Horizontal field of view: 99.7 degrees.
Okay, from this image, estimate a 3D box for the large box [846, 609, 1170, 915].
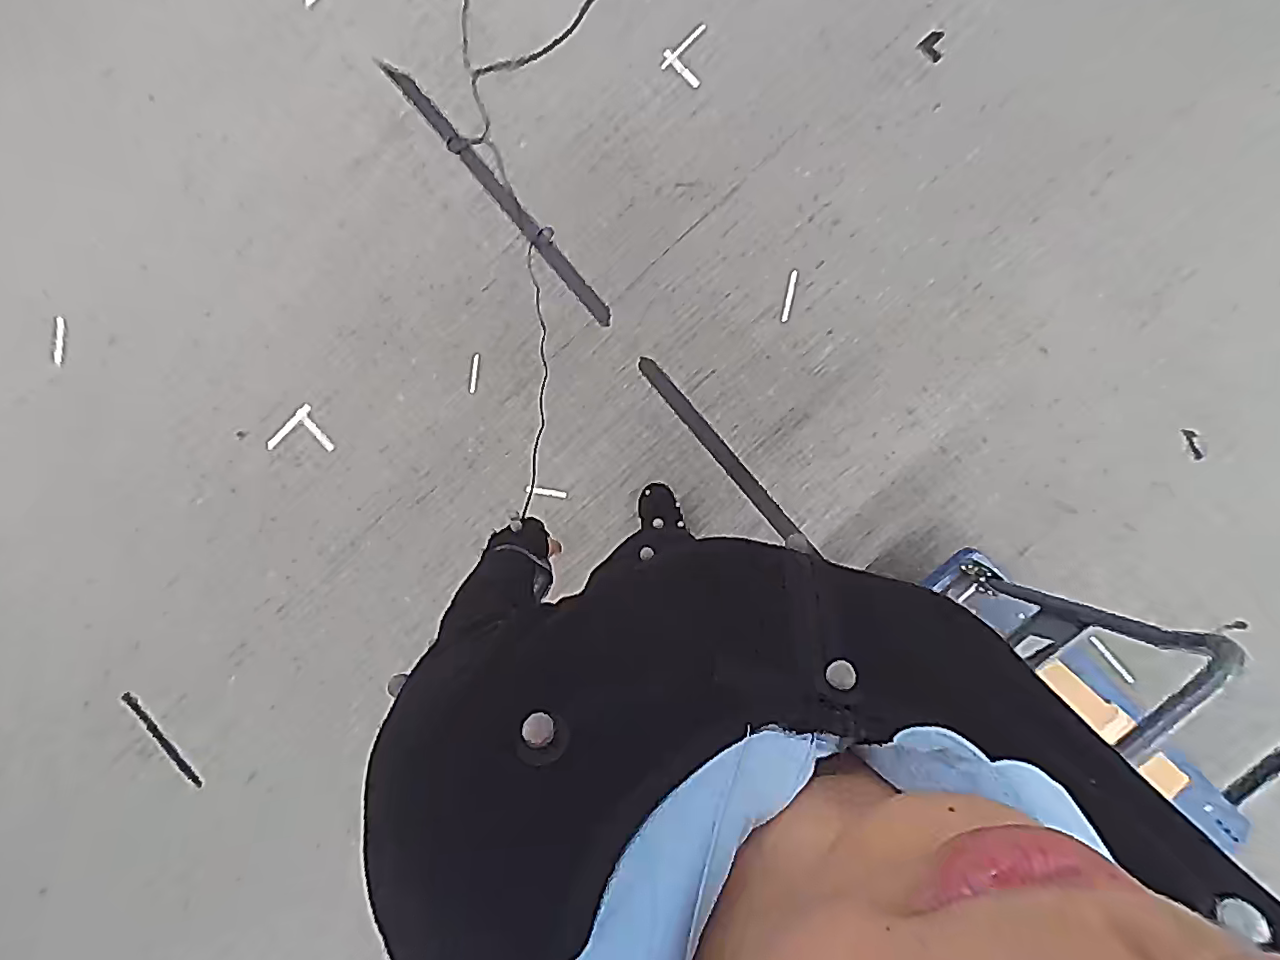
[{"bbox_3d":[0.718,0.547,1.131,0.320,0.320,0.408,43,95,4],"label":"large box"}]
